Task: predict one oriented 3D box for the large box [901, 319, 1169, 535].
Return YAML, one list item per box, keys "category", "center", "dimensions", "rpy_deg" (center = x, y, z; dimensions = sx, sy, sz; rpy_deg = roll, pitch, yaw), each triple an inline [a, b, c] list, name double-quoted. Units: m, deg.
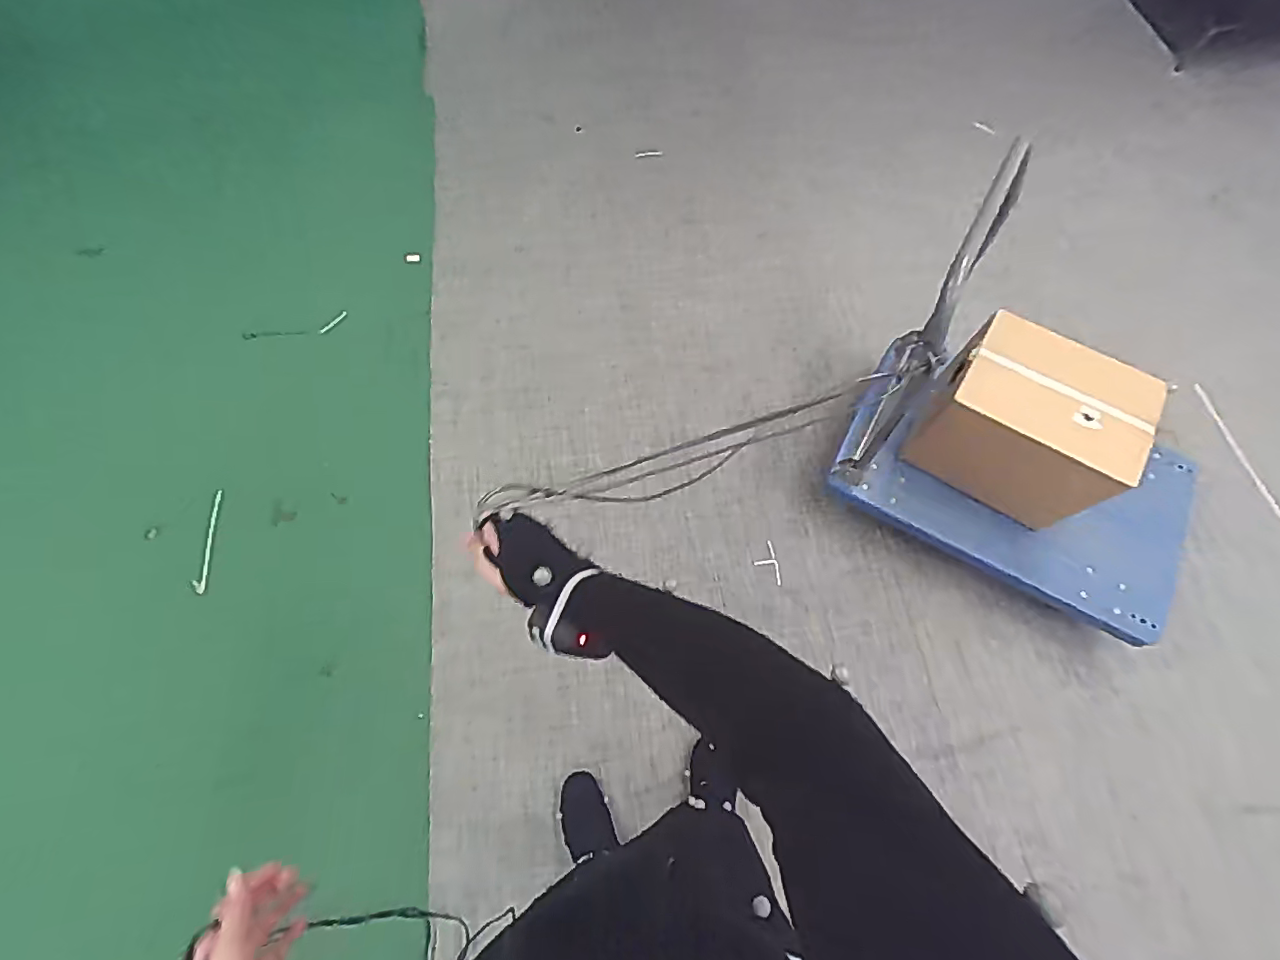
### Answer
- category: "large box"
  center: [0.956, -0.123, 1.356]
  dimensions: [0.408, 0.320, 0.320]
  rpy_deg: [31, 71, 12]
